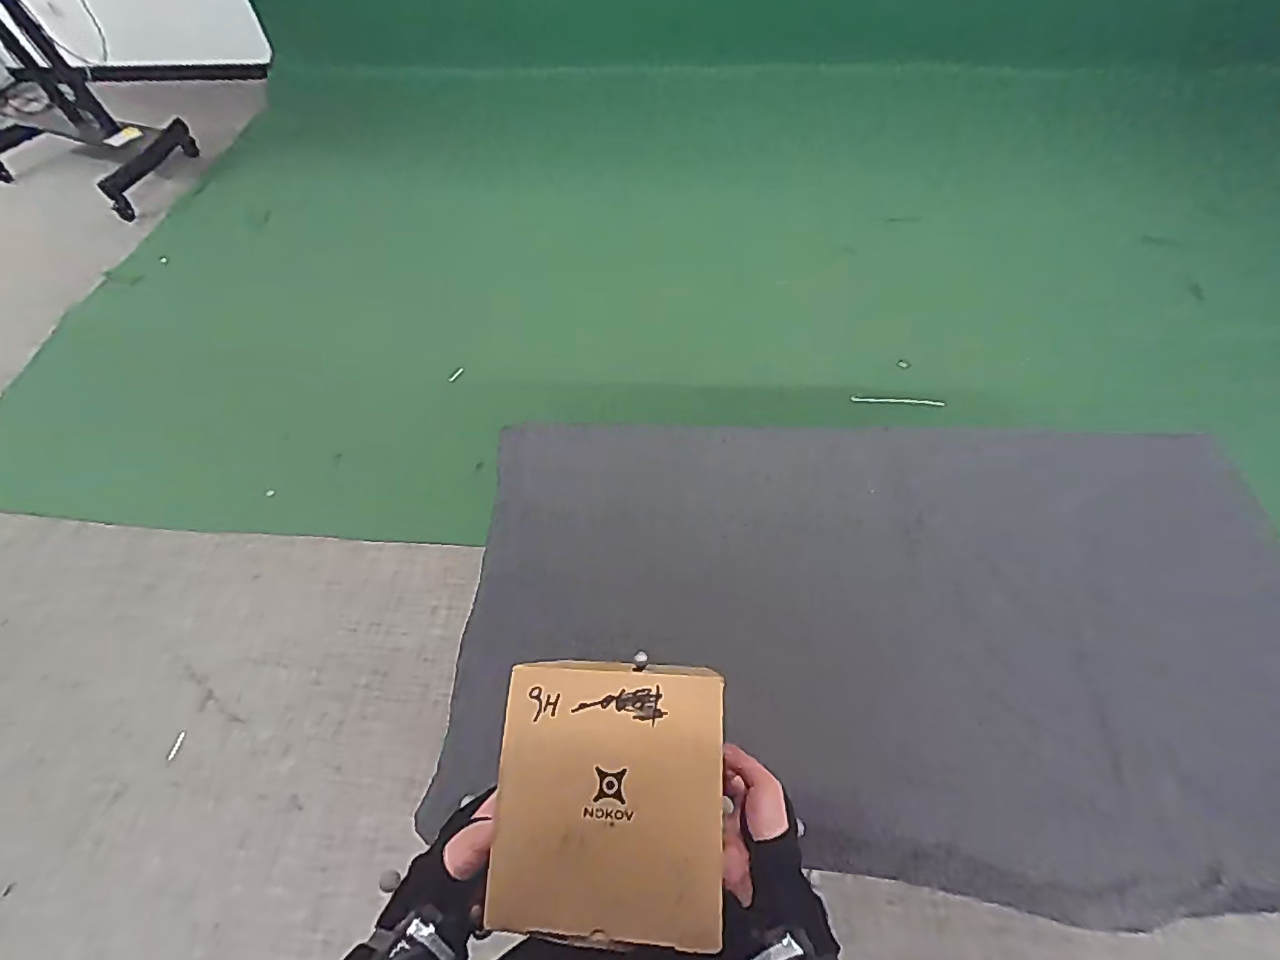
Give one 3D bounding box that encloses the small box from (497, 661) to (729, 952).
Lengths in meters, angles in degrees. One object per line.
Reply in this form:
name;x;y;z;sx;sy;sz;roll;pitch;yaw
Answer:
small box;-0.012;0.261;0.478;0.168;0.176;0.179;2;74;4
